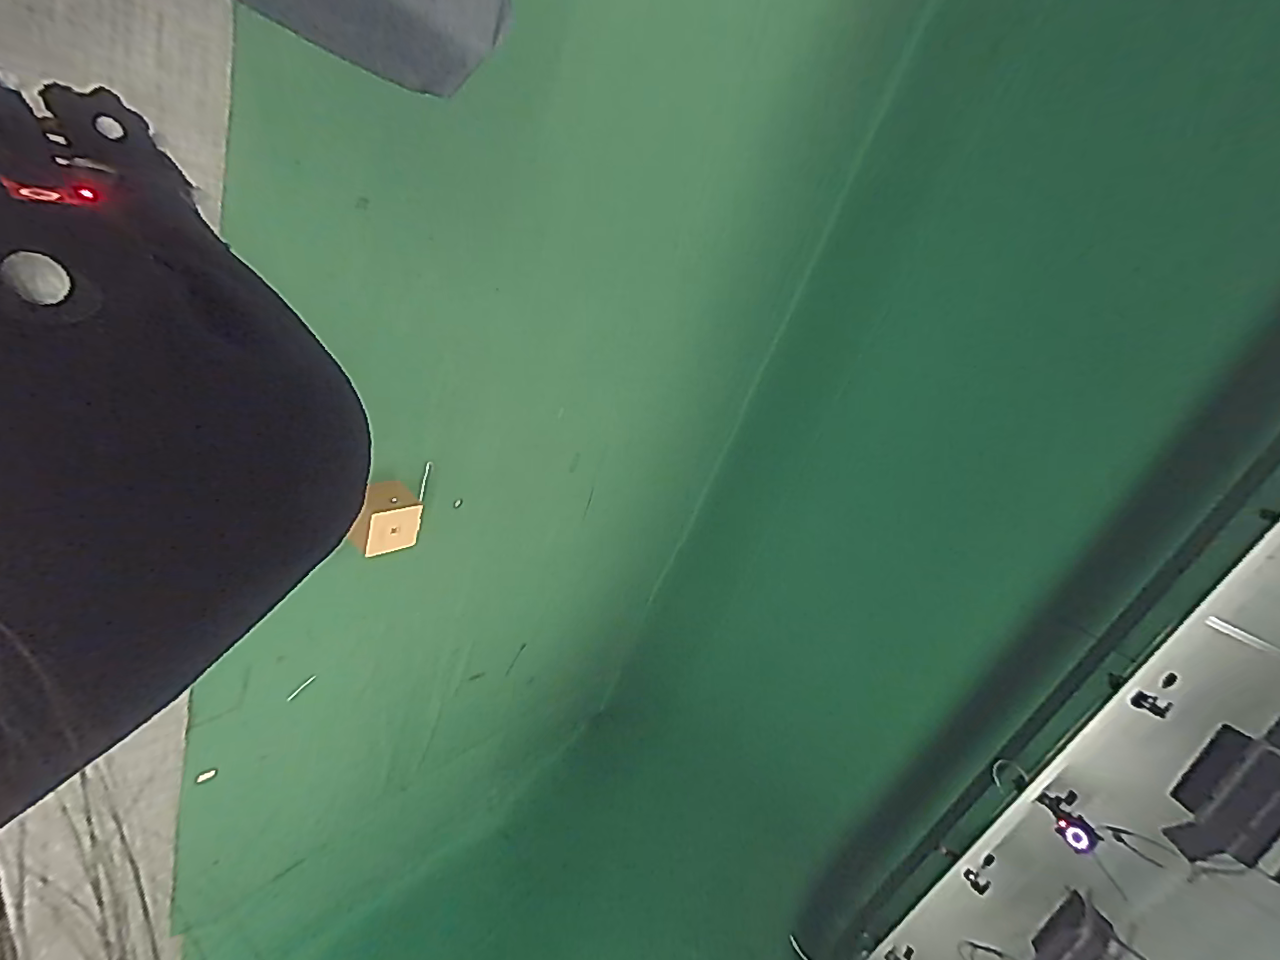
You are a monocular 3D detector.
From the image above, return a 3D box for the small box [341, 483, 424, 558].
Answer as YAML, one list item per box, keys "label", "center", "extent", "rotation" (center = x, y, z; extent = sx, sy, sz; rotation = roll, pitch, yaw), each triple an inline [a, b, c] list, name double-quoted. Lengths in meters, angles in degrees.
- label: "small box"
  center: [-0.843, 0.124, 1.765]
  extent: [0.179, 0.176, 0.168]
  rotation: [-14, 129, -52]
